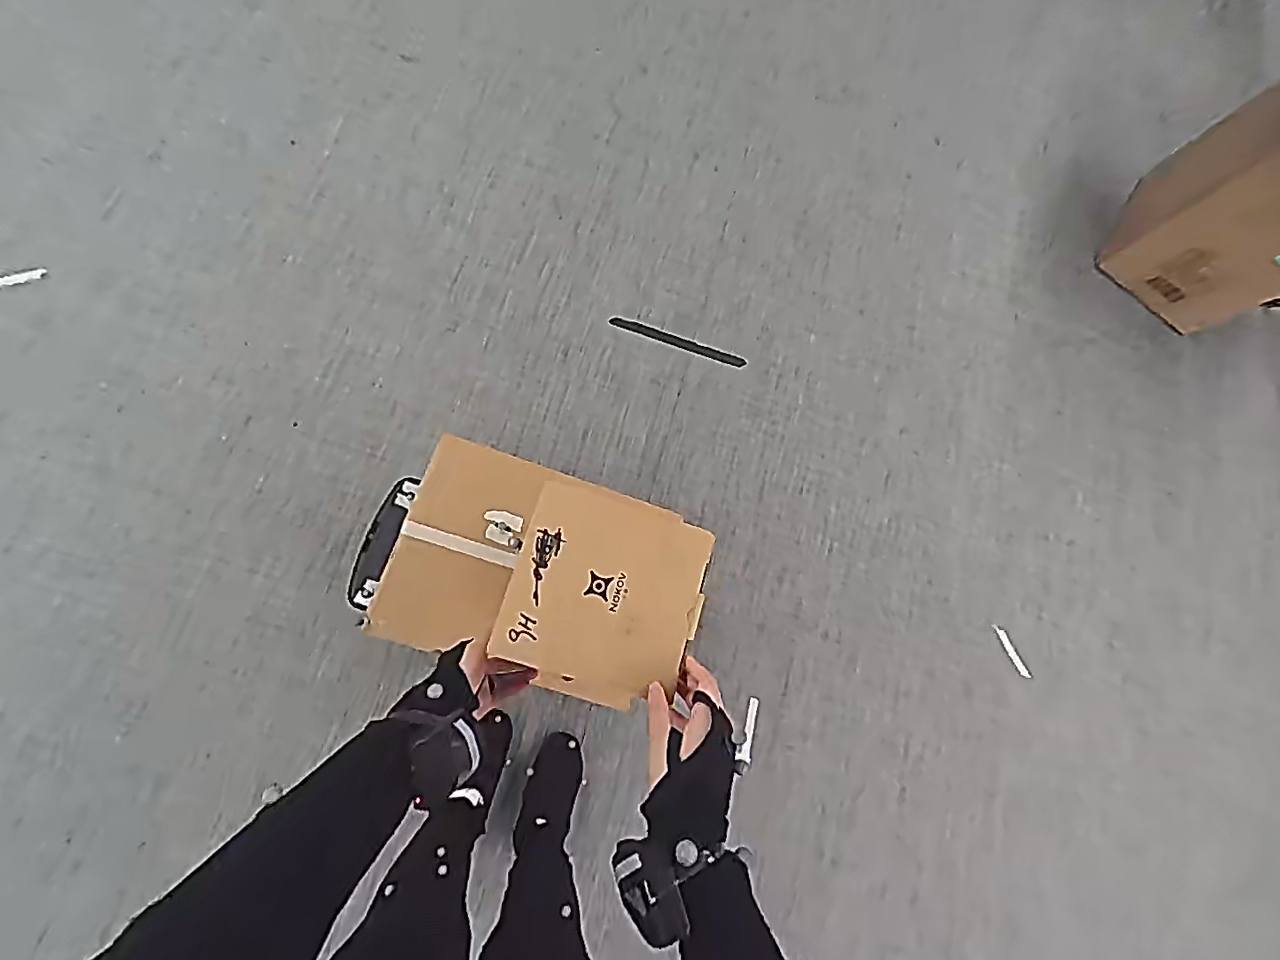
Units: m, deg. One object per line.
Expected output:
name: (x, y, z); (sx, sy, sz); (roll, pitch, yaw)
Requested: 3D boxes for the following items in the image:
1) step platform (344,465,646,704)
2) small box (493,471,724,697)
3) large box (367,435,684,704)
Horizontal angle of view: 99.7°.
step platform: (-0.254, 0.227, 1.175); (0.684, 0.204, 0.286); (24, 75, -4)
small box: (-0.038, 0.108, 0.569); (0.179, 0.176, 0.168); (19, 75, -6)
large box: (-0.177, 0.161, 0.956); (0.408, 0.320, 0.320); (19, 74, -5)
